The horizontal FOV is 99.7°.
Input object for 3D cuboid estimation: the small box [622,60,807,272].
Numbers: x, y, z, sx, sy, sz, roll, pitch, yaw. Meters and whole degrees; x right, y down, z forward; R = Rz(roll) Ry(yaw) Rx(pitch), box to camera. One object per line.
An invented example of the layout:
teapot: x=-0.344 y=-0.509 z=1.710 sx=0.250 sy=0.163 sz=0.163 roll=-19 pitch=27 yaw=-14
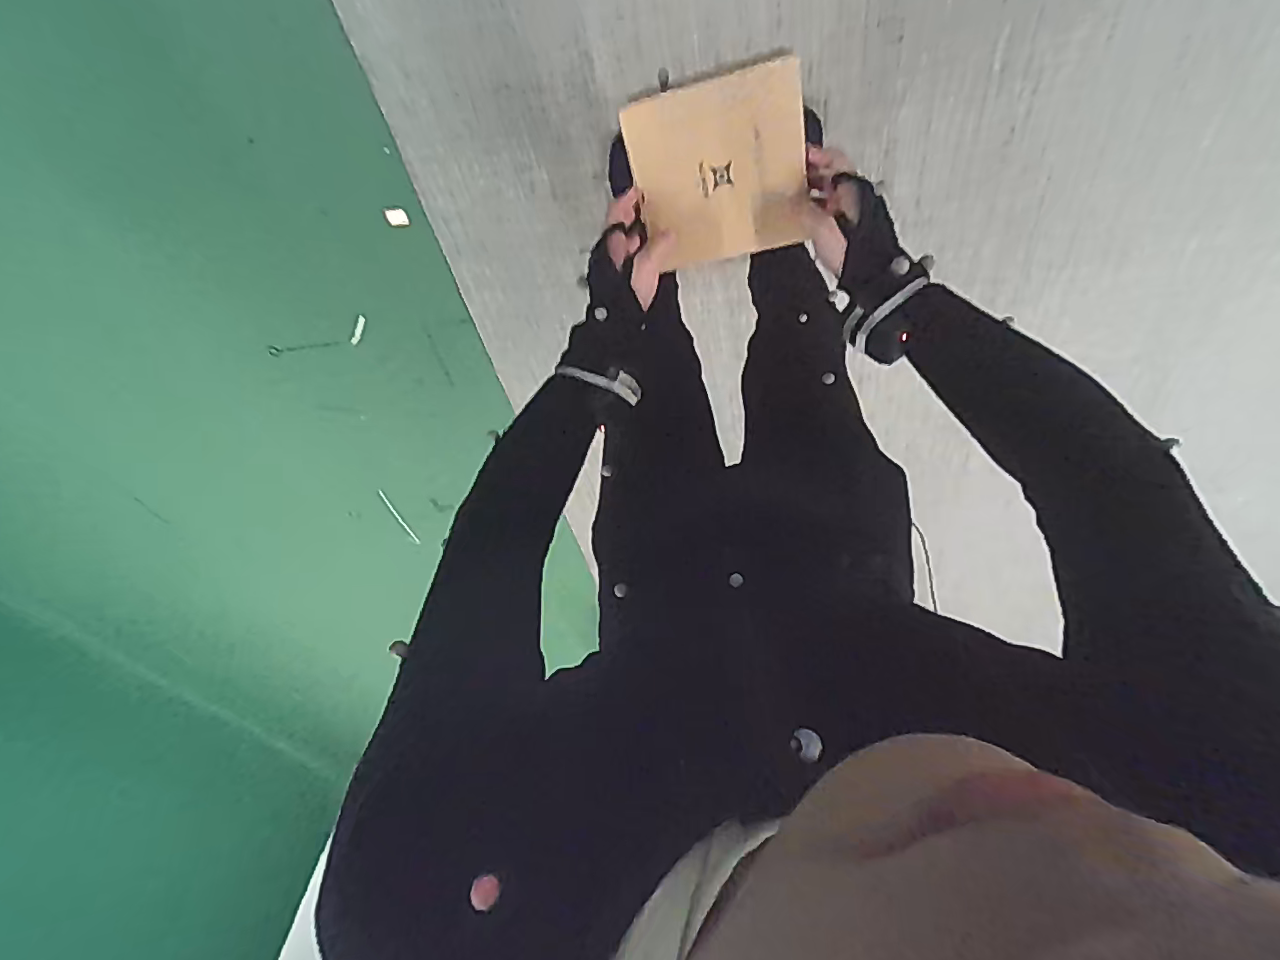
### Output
small box: x=0.092 y=-0.362 z=0.625 sx=0.179 sy=0.176 sz=0.168 roll=-6 pitch=129 yaw=14
